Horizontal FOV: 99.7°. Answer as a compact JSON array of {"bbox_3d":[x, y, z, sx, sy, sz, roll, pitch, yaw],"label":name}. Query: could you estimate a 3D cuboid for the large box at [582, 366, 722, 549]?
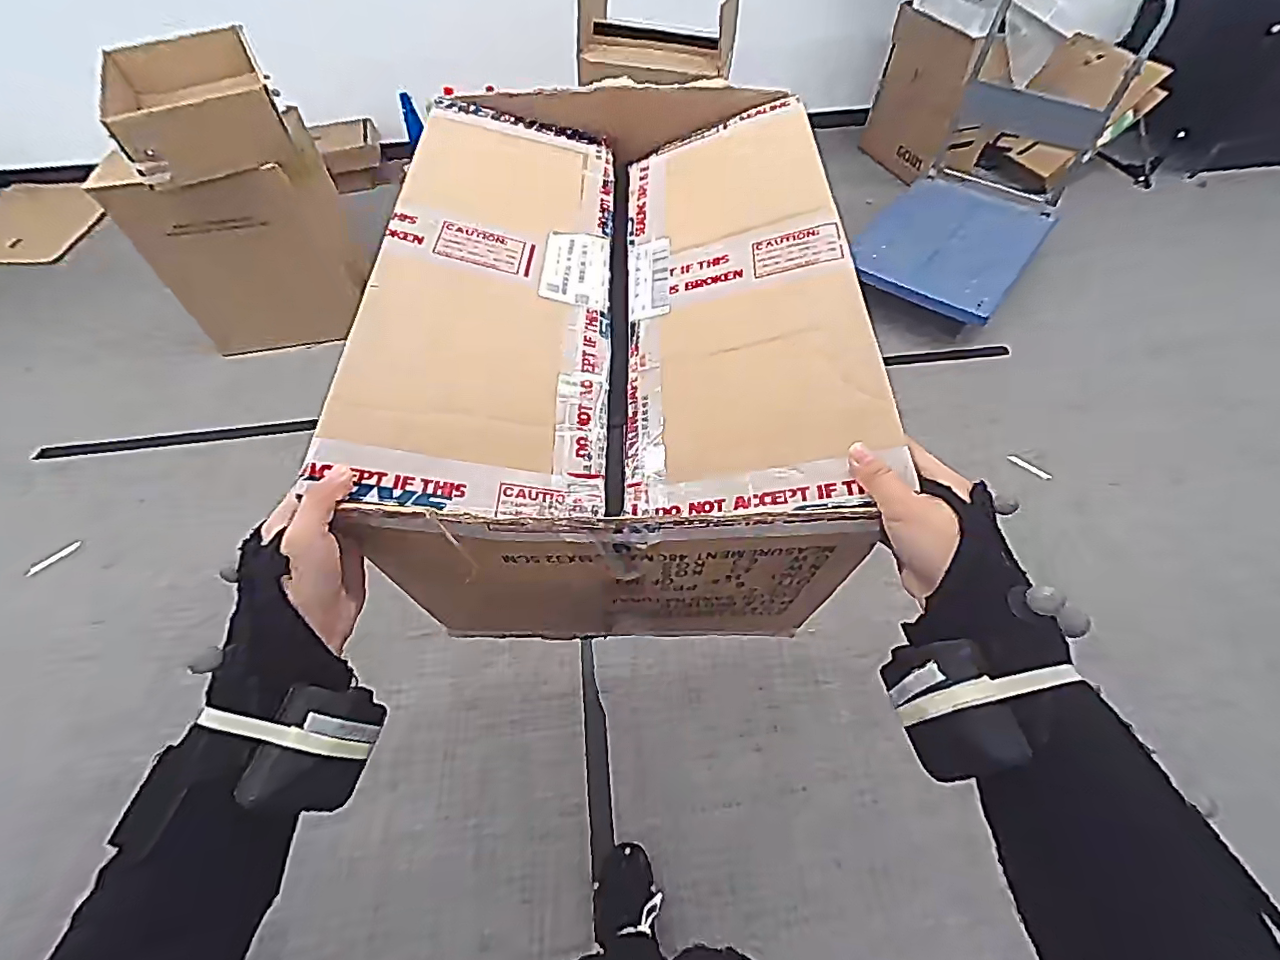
[{"bbox_3d":[0.019,-0.065,1.540,0.320,0.320,0.408,-8,55,-4],"label":"large box"}]
